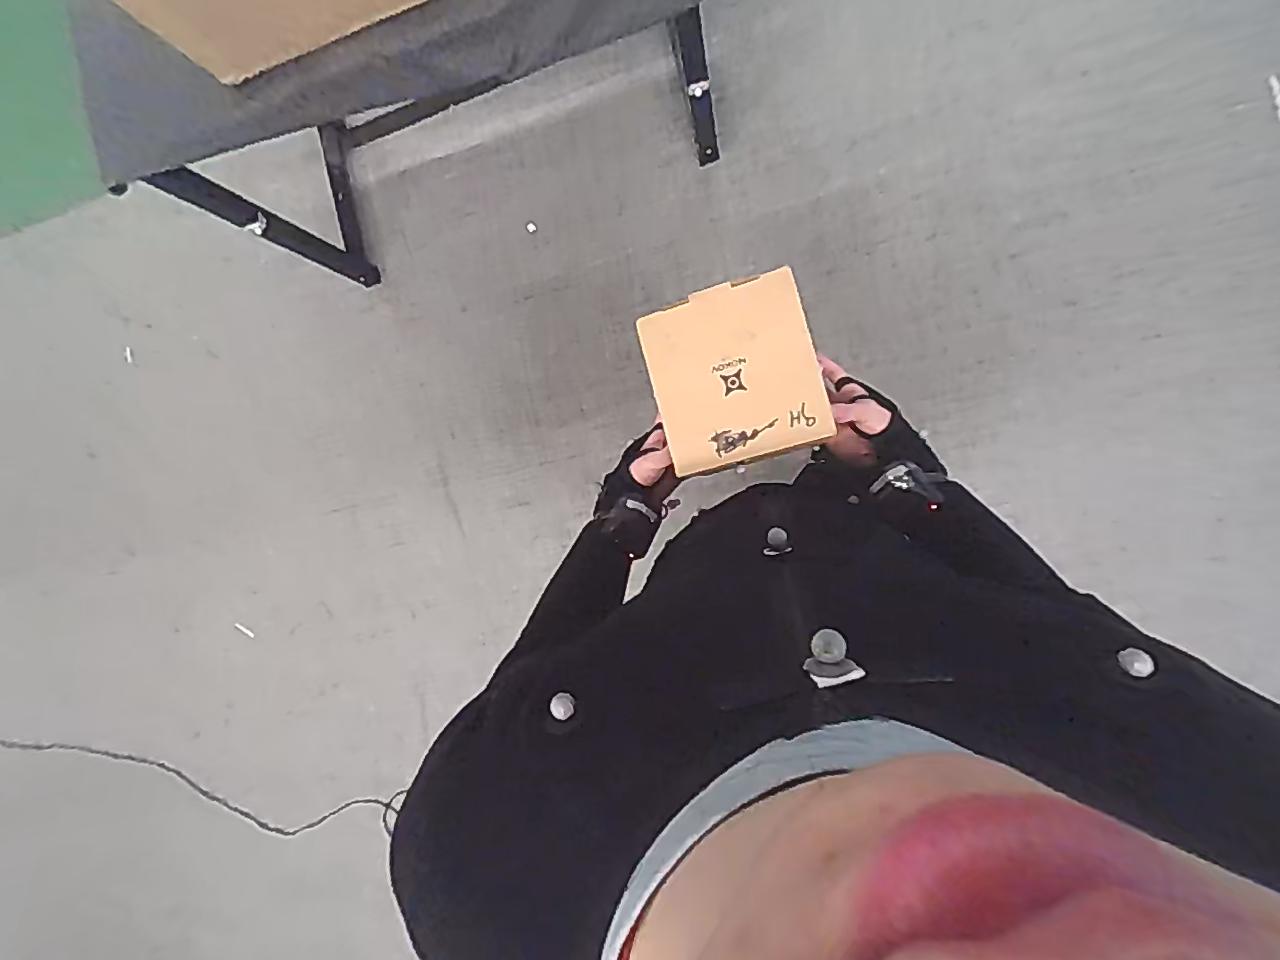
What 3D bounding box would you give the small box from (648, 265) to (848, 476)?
[{"bbox_3d":[0.123,-0.108,0.620,0.168,0.176,0.179,-16,86,14],"label":"small box"}]
